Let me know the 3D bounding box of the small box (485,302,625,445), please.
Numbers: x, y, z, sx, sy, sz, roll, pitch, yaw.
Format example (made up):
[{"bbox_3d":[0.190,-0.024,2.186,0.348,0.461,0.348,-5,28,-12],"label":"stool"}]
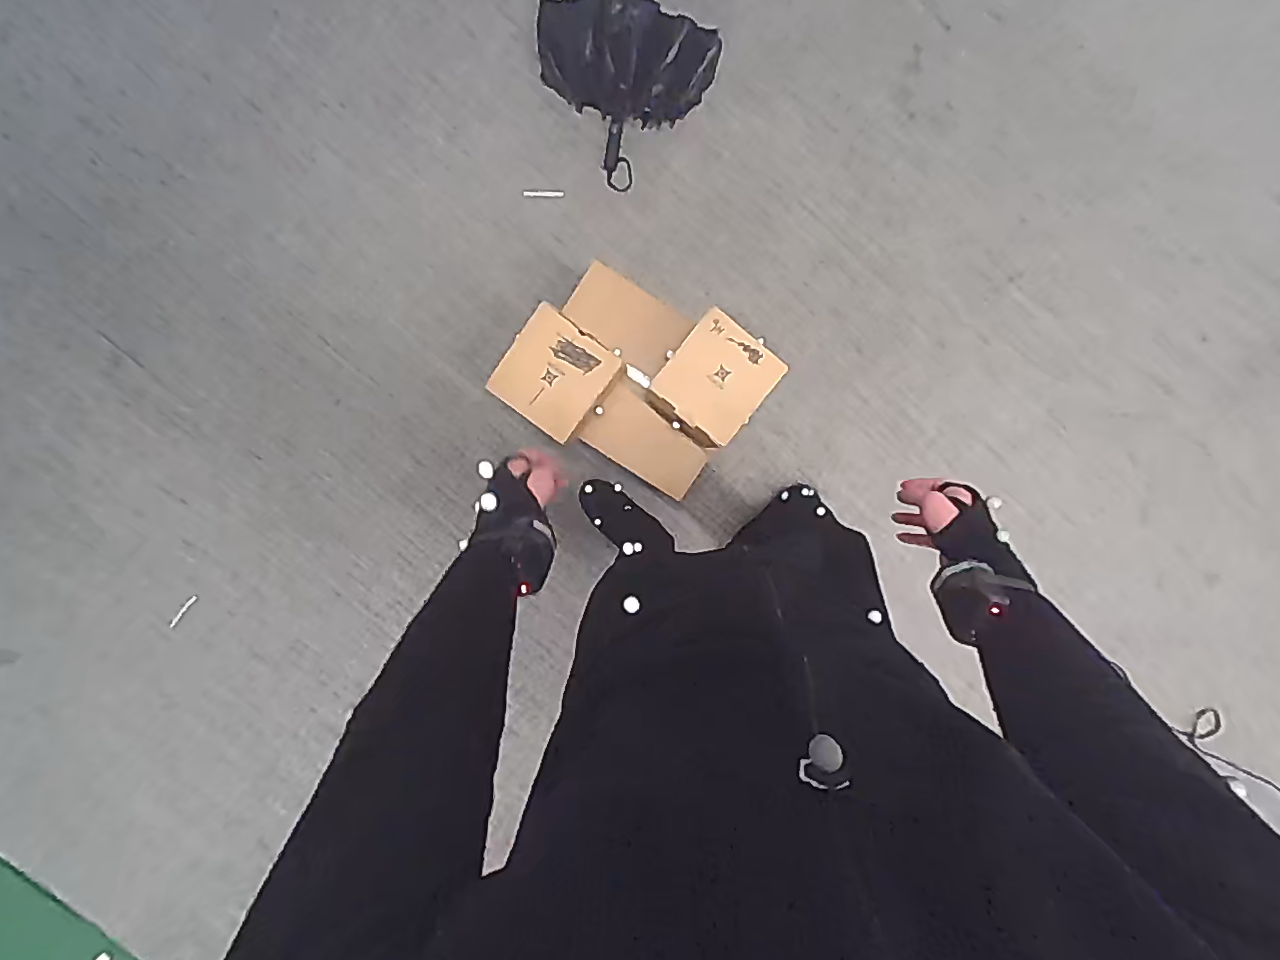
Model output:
[{"bbox_3d":[-0.141,-0.182,0.964,0.168,0.176,0.179,38,96,-3],"label":"small box"}]

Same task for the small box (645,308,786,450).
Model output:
[{"bbox_3d":[0.125,-0.169,0.968,0.168,0.176,0.179,40,91,-3],"label":"small box"}]
